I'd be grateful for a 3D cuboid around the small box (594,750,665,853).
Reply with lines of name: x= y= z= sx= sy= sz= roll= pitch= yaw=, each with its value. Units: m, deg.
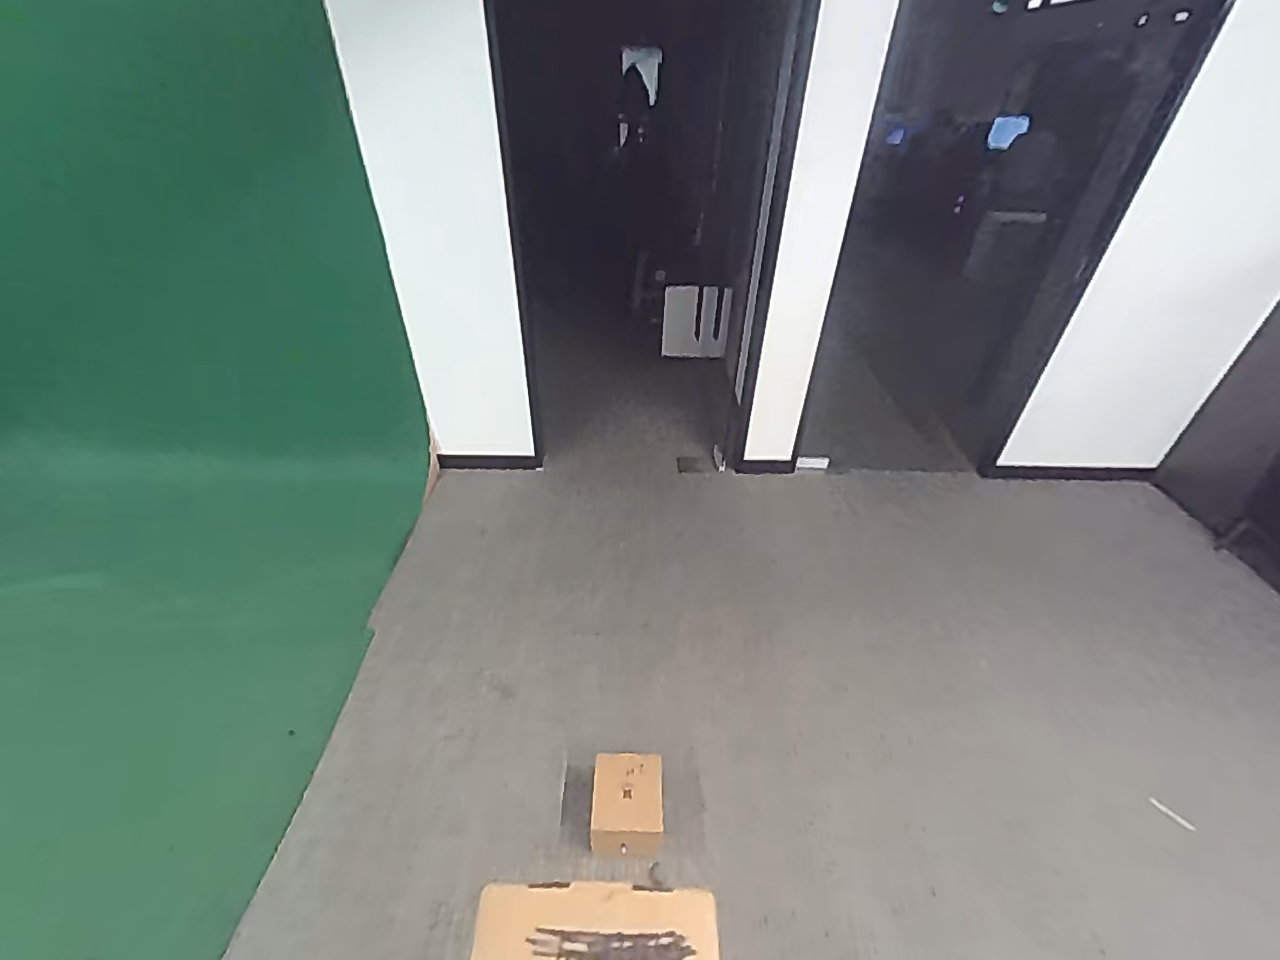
small box: x=-0.022 y=0.795 z=1.334 sx=0.168 sy=0.176 sz=0.179 roll=2 pitch=38 yaw=0
